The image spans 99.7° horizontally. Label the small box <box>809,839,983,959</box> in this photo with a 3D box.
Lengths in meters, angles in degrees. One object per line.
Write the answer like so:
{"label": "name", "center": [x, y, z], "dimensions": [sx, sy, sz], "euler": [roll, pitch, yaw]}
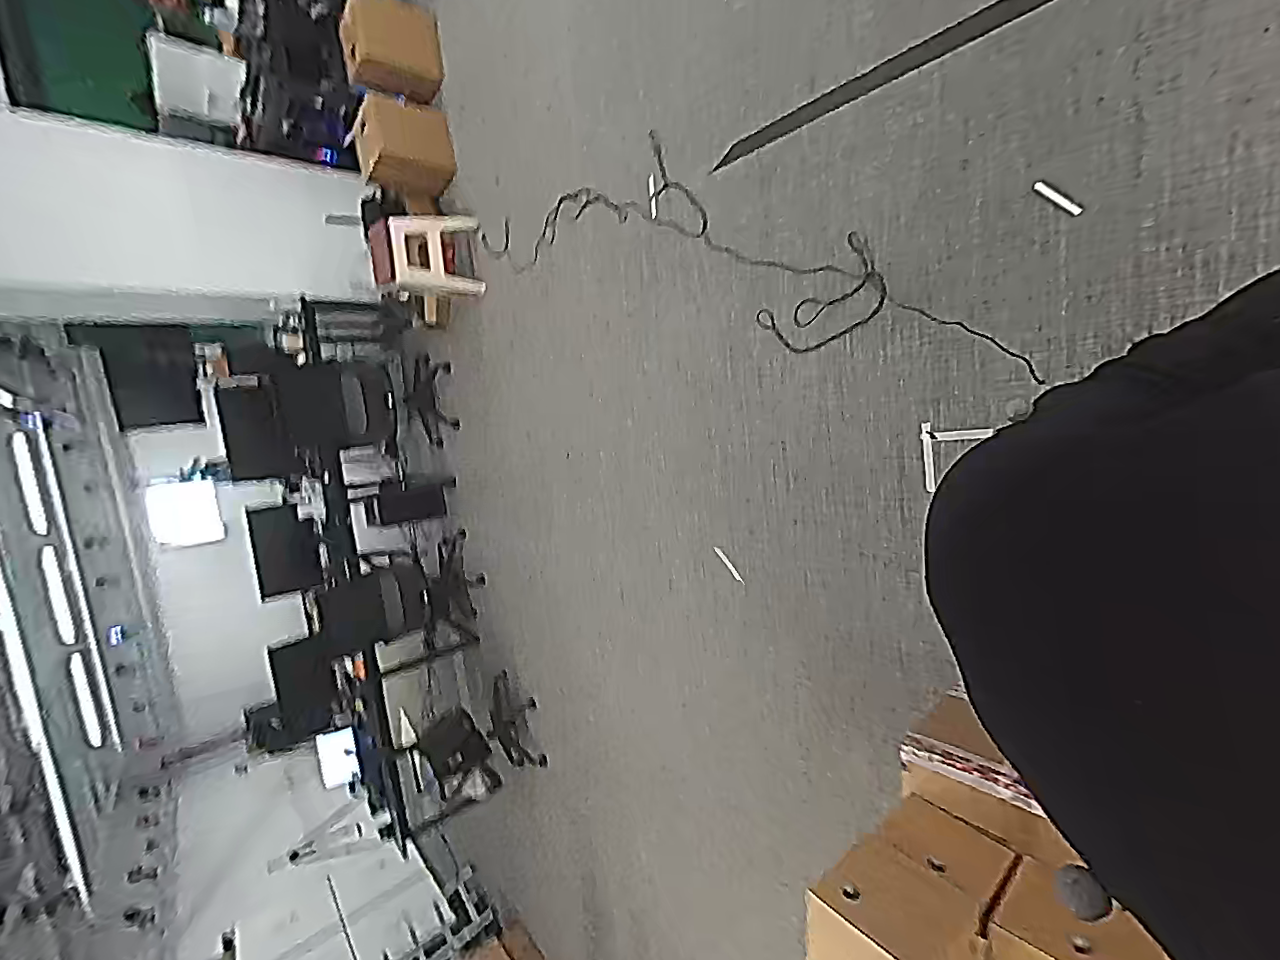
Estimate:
{"label": "small box", "center": [0.372, 0.679, 0.798], "dimensions": [0.179, 0.176, 0.168], "euler": [9, 105, 51]}

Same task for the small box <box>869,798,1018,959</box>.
{"label": "small box", "center": [0.501, 0.680, 0.905], "dimensions": [0.179, 0.176, 0.168], "euler": [14, 109, 51]}
